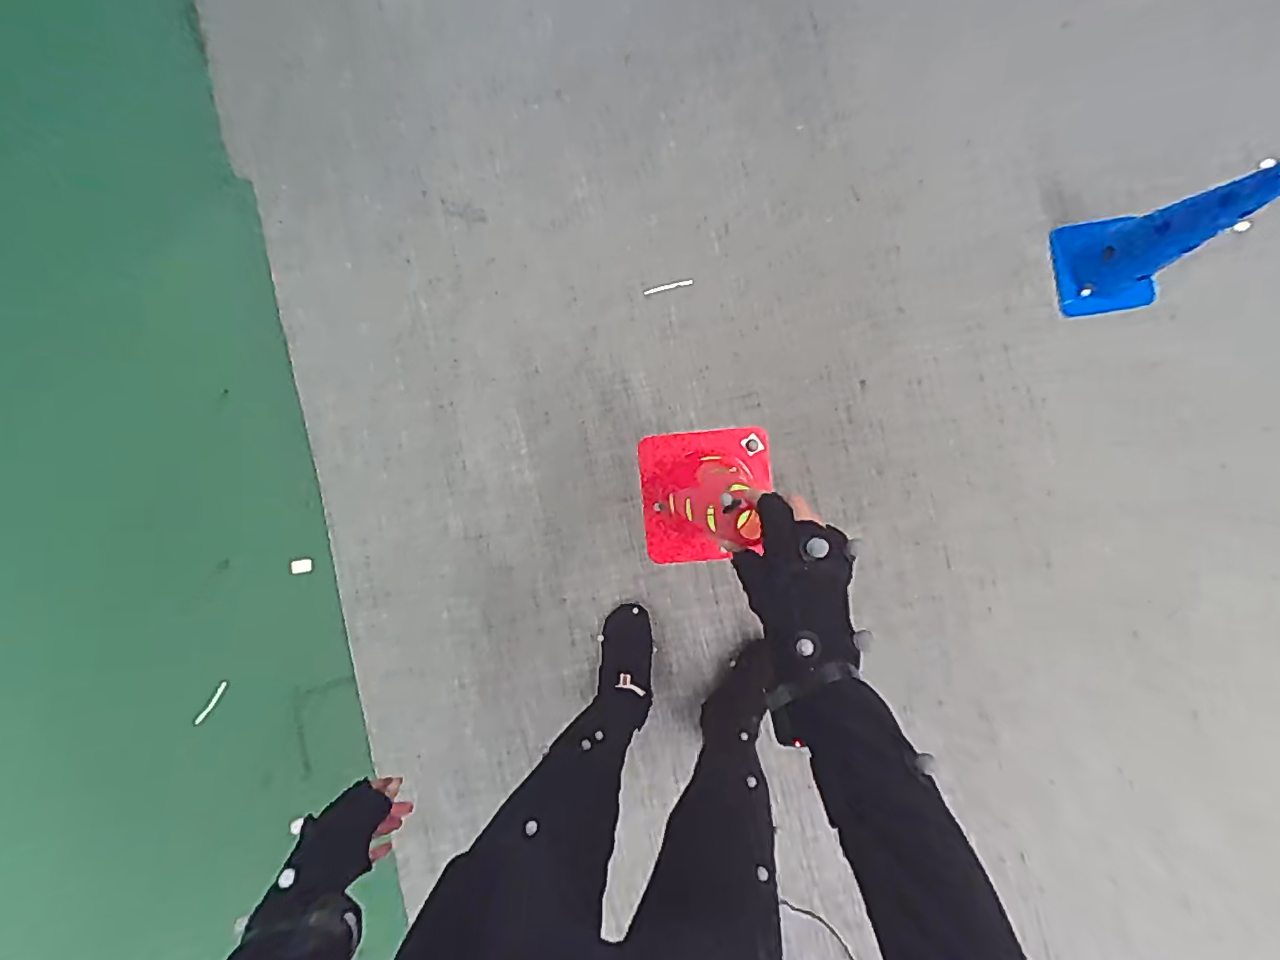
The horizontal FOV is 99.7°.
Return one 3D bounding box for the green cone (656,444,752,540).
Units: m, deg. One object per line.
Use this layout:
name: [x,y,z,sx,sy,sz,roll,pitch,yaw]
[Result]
green cone: [0.137,0.020,1.025,0.202,0.368,0.200,-6,88,1]
